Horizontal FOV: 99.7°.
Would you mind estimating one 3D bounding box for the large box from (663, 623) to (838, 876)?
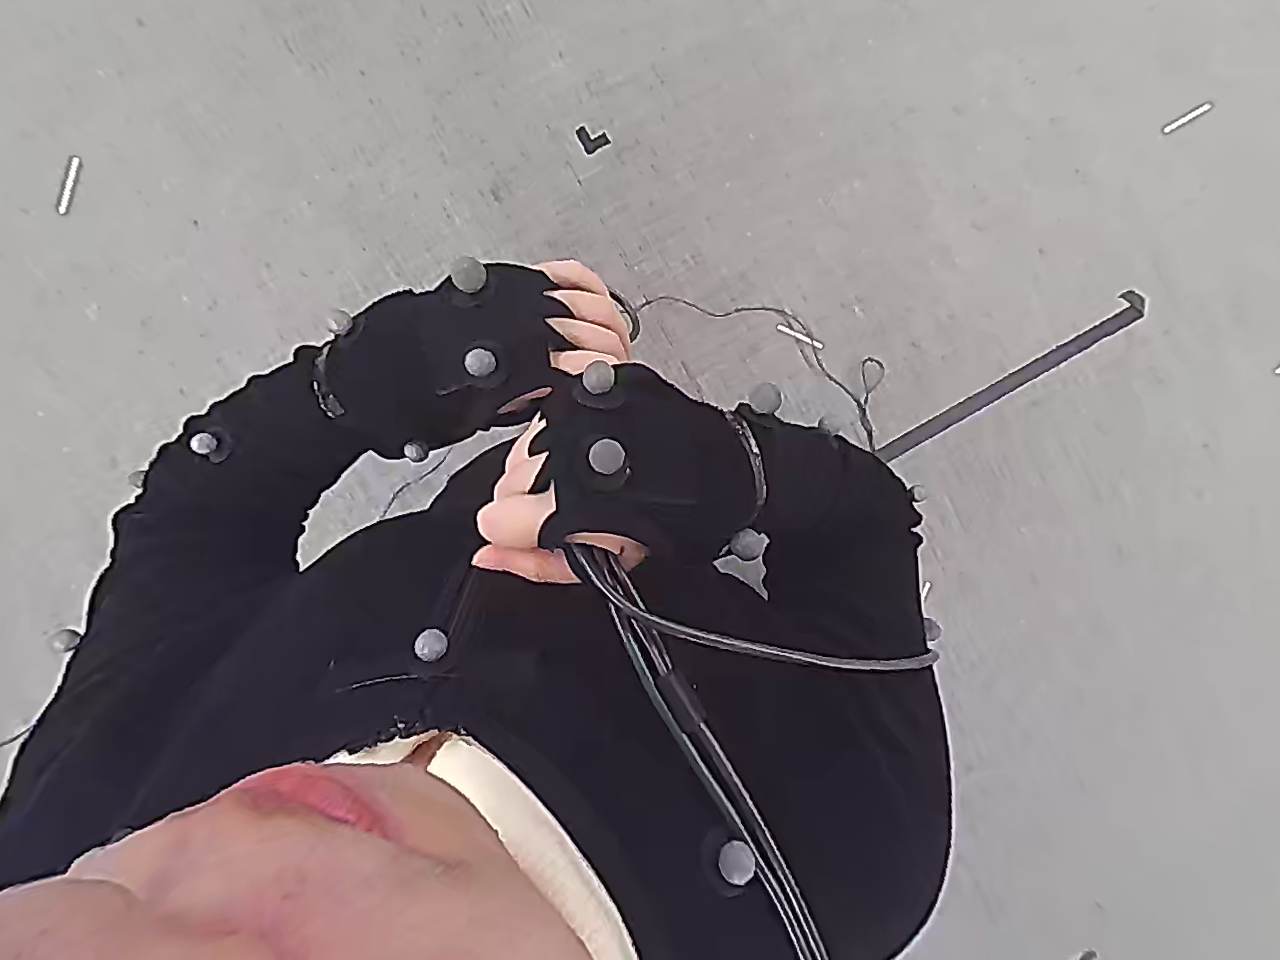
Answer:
[{"bbox_3d":[0.237,0.590,1.248,0.320,0.320,0.408,-4,97,-4],"label":"large box"}]
